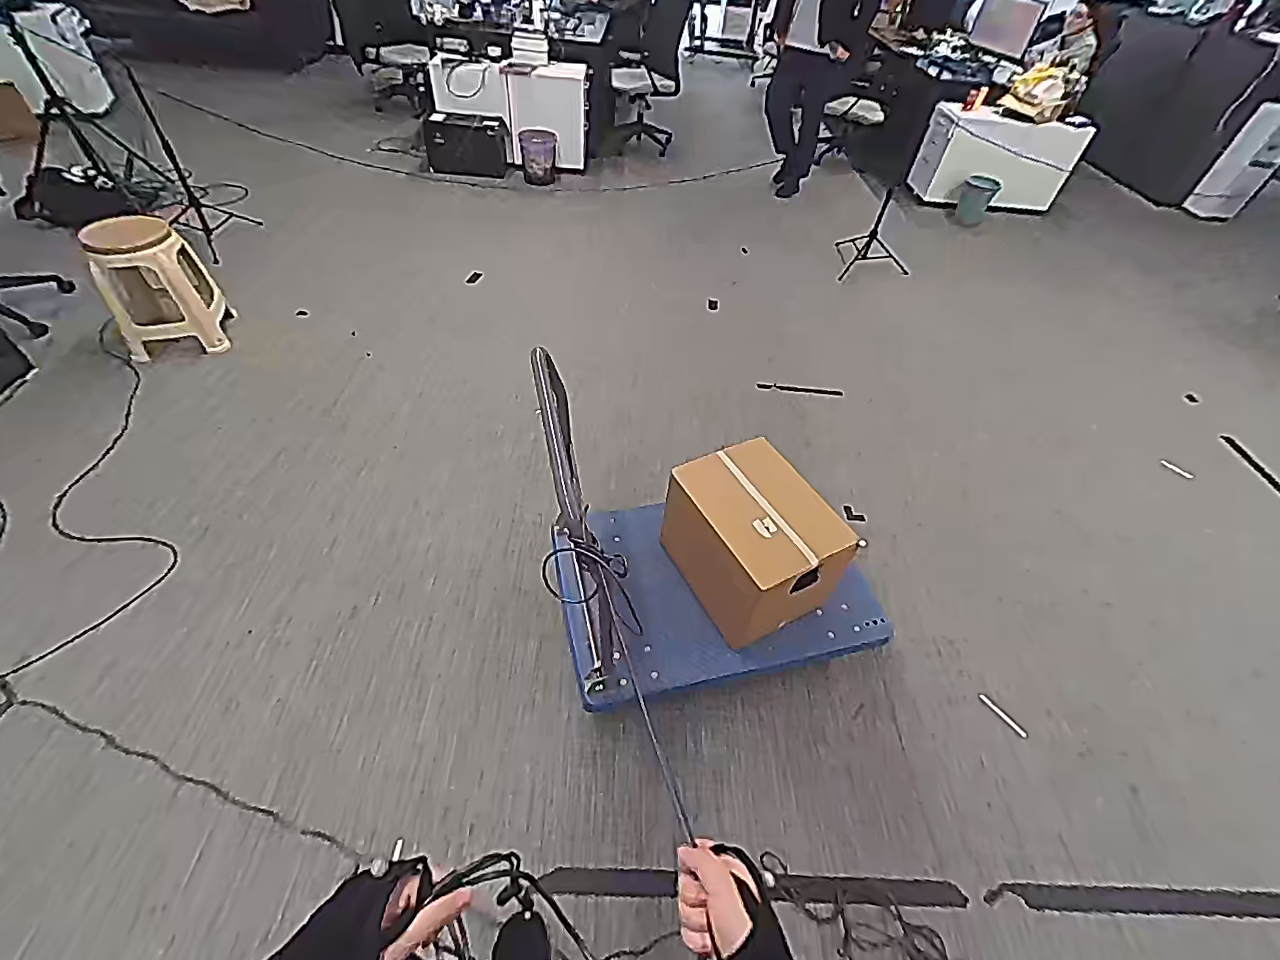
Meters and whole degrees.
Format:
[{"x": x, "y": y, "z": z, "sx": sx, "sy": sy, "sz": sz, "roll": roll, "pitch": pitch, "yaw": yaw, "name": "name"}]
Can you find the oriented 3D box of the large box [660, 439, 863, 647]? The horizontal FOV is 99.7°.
[{"x": 0.296, "y": 0.161, "z": 1.460, "sx": 0.320, "sy": 0.320, "sz": 0.408, "roll": -20, "pitch": 54, "yaw": -21, "name": "large box"}]
